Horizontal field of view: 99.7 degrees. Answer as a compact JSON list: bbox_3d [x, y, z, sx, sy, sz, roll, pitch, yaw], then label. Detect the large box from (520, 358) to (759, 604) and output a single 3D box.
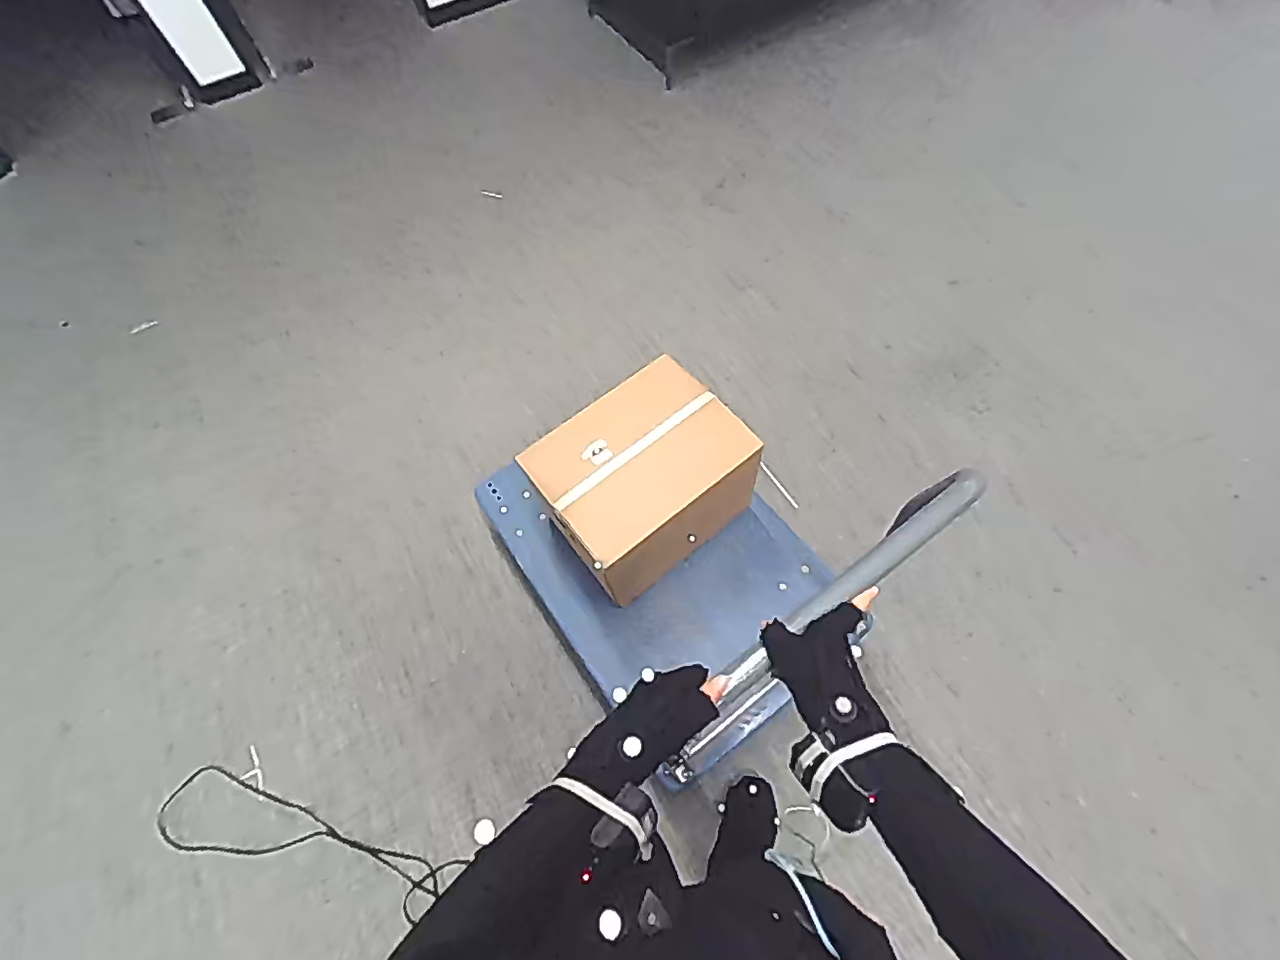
[{"bbox_3d":[0.010,0.011,1.227,0.408,0.320,0.320,-37,65,-12],"label":"large box"}]
